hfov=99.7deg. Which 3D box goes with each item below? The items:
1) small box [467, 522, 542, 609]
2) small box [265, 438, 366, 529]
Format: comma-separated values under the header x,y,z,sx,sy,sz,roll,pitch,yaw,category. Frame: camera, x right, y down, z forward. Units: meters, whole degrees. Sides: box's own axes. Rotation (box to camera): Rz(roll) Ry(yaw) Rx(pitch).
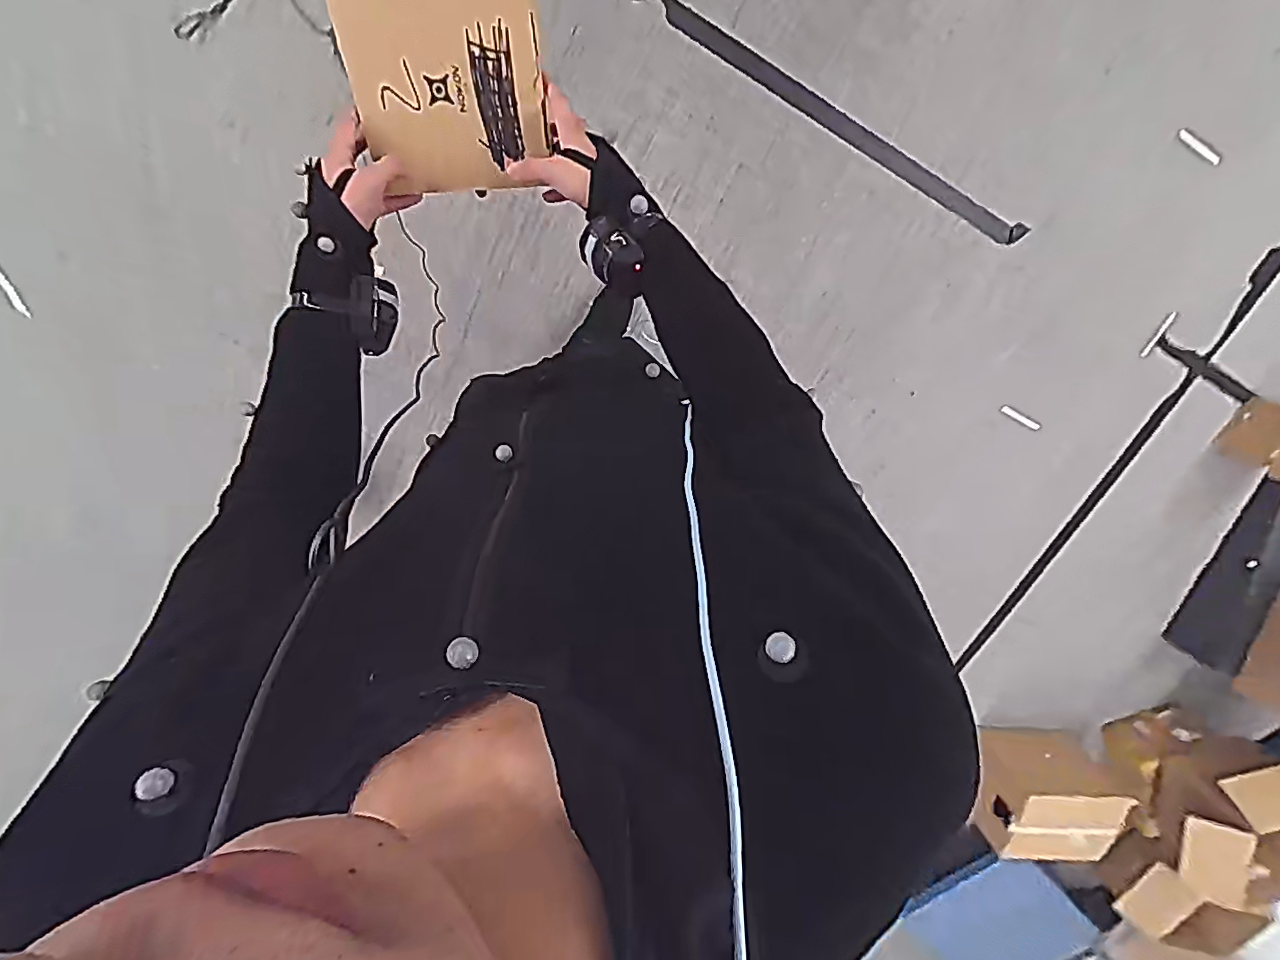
x,y,z,sx,sy,sz,roll,pitch,yaw,category
-0.409,0.256,1.663,0.168,0.176,0.179,25,108,-14,small box
-0.906,0.003,1.526,0.168,0.176,0.179,27,107,-13,small box
